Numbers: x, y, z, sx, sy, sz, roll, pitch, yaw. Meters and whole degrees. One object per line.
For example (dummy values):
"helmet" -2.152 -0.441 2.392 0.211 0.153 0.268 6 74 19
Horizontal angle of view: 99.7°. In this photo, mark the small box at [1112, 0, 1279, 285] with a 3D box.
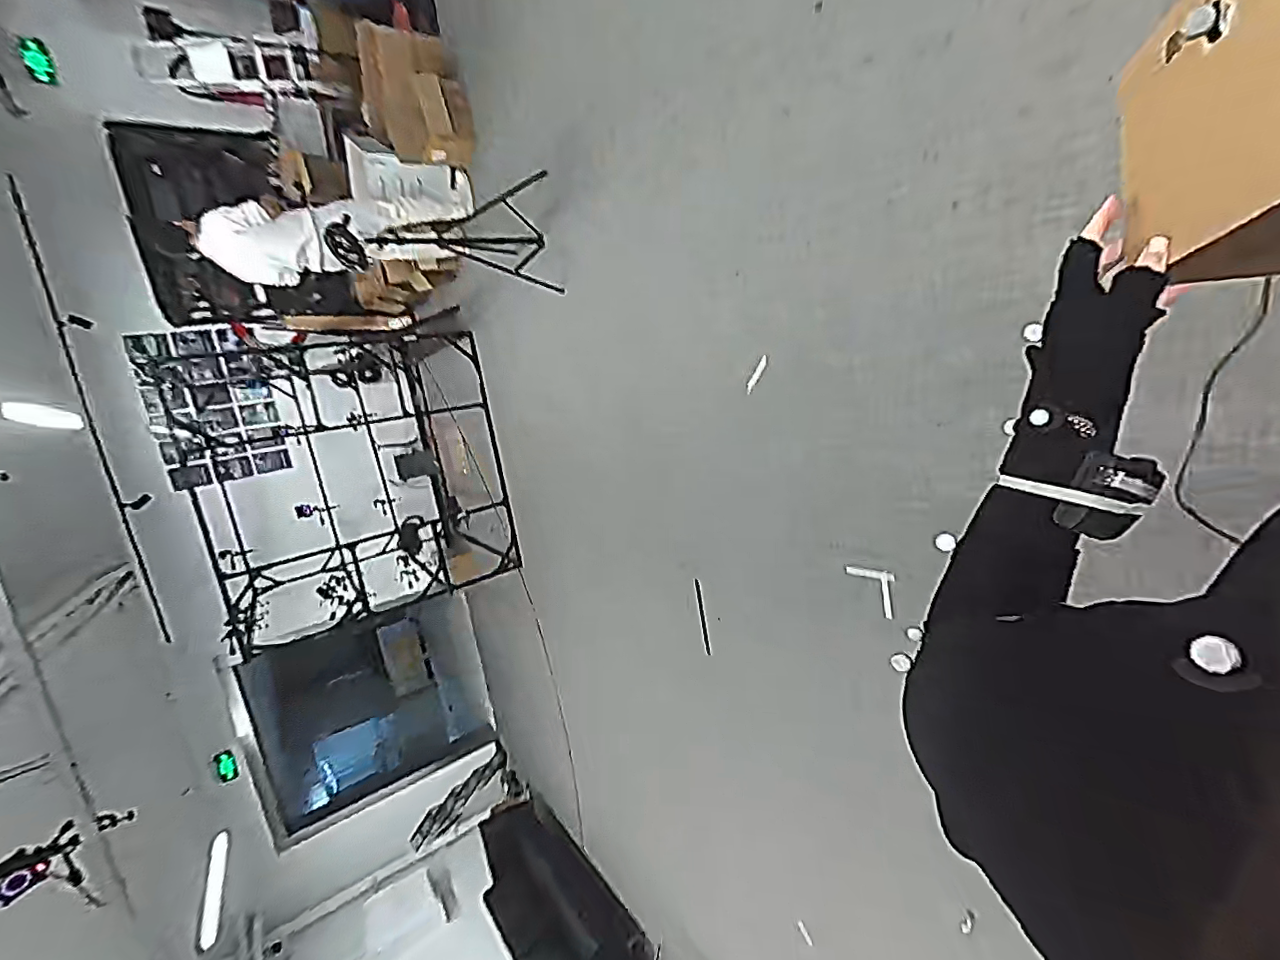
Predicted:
"small box" 0.419 -0.230 0.309 0.179 0.168 0.176 -1 90 15
